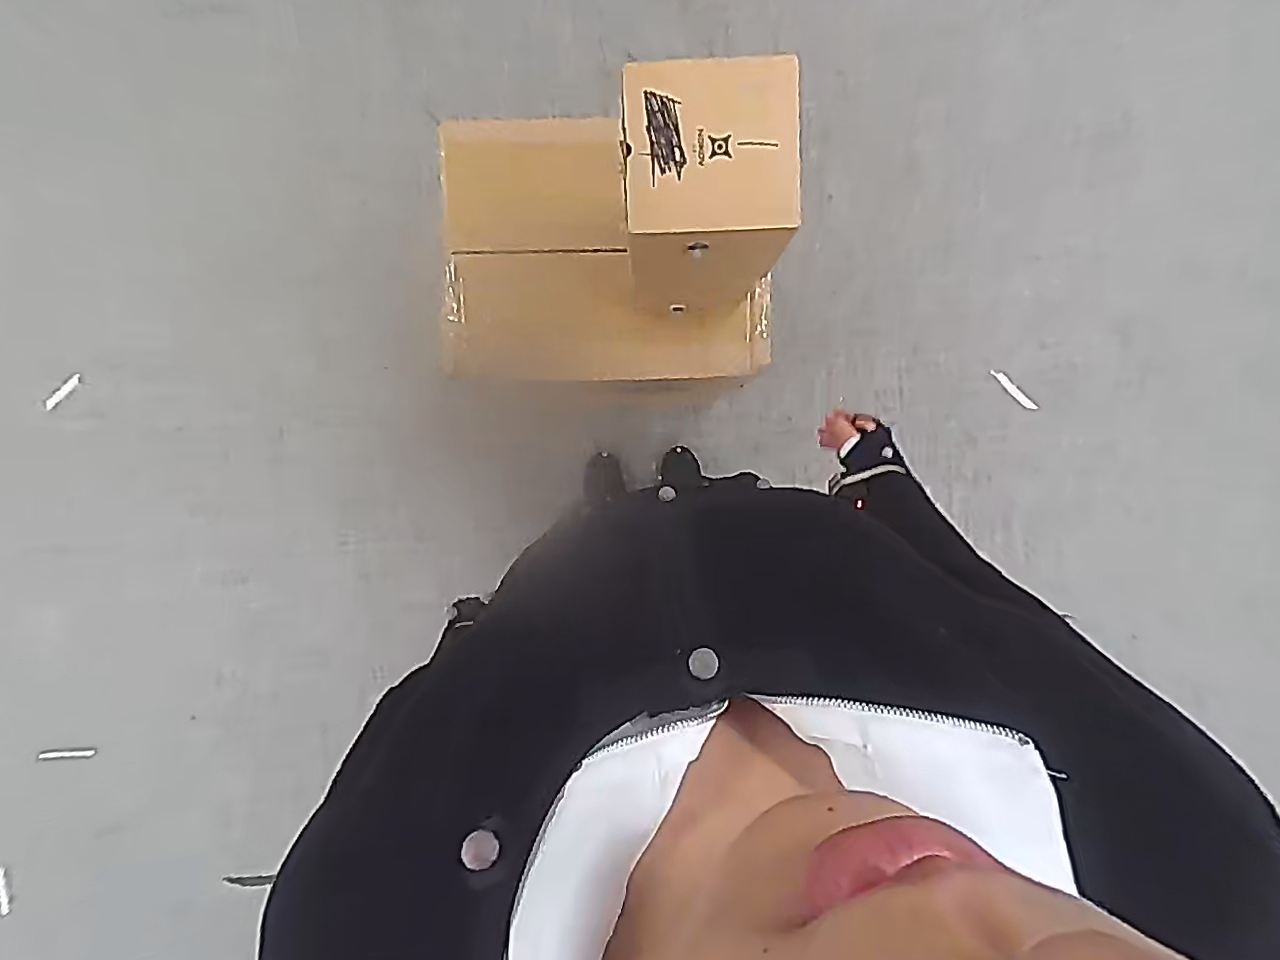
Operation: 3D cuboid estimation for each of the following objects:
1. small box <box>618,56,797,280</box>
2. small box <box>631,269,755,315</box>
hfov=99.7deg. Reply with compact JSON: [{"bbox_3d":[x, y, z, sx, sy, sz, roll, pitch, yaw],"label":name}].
[{"bbox_3d":[0.070,-0.337,0.617,0.179,0.176,0.168,-2,94,1],"label":"small box"},{"bbox_3d":[0.068,-0.348,0.781,0.168,0.176,0.179,-2,95,2],"label":"small box"}]
